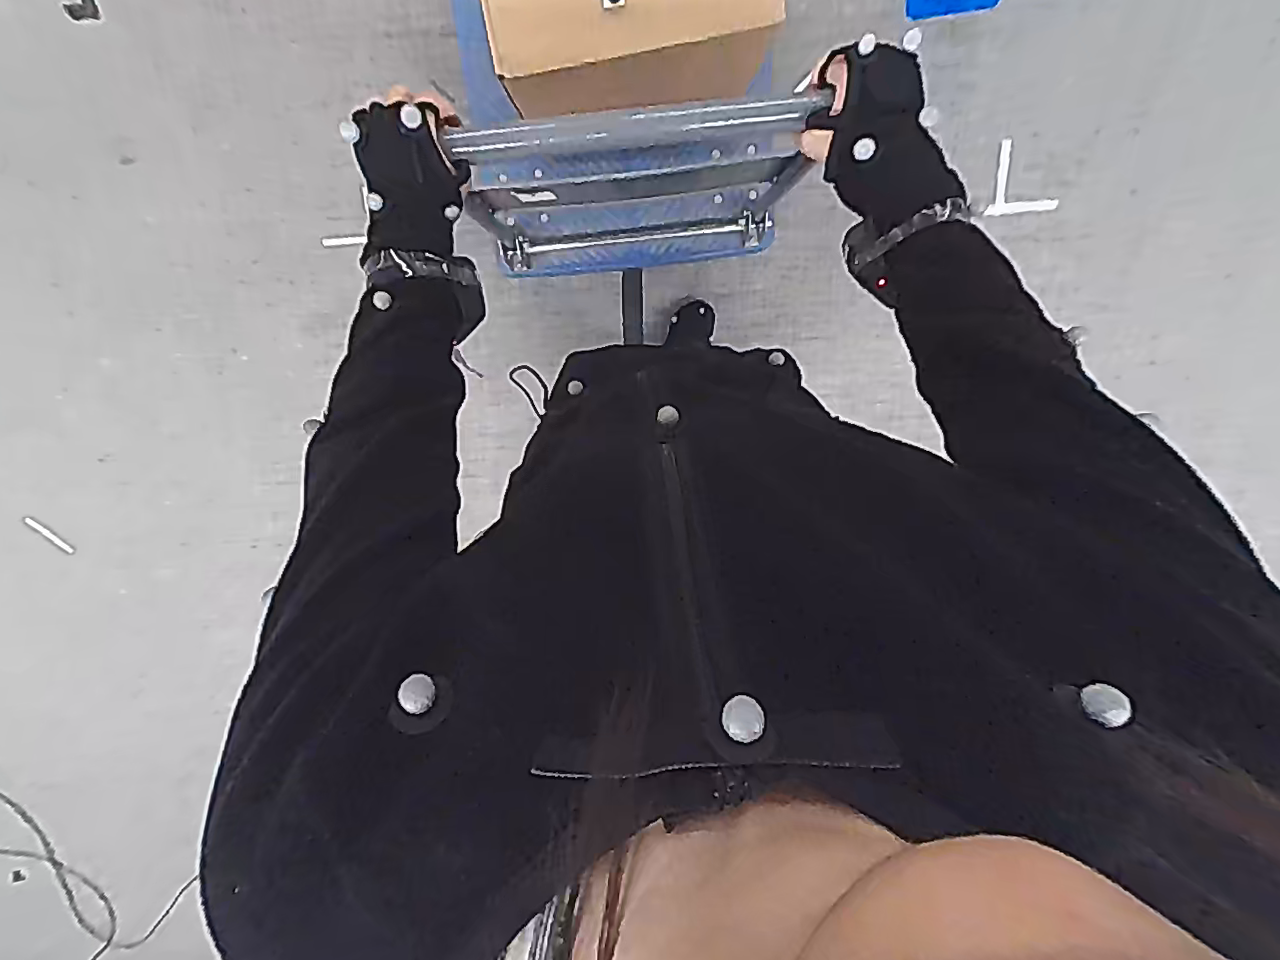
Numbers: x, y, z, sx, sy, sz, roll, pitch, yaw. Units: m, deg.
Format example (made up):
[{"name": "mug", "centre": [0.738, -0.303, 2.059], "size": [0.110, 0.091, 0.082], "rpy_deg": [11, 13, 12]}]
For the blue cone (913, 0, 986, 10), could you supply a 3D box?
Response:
[{"name": "blue cone", "centre": [0.655, -1.036, 0.953], "size": [0.193, 0.380, 0.192], "rpy_deg": [-6, 107, 0]}]
